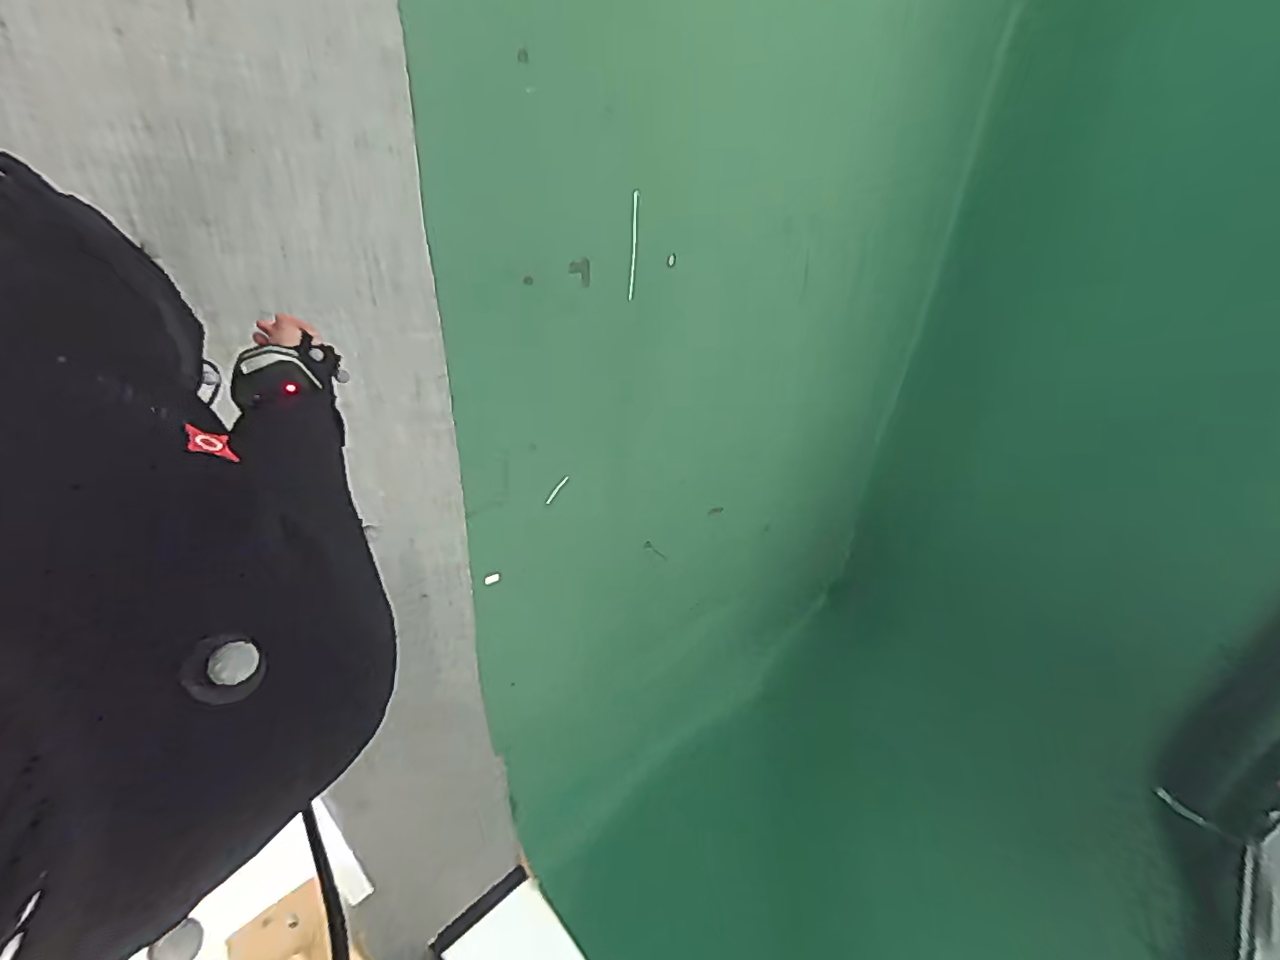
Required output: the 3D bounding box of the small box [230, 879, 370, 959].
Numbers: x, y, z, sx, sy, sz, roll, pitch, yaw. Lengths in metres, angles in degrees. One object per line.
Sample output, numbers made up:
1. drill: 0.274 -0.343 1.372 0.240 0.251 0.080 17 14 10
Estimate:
1. small box: -0.594 0.871 0.965 0.168 0.176 0.179 -26 129 -34
